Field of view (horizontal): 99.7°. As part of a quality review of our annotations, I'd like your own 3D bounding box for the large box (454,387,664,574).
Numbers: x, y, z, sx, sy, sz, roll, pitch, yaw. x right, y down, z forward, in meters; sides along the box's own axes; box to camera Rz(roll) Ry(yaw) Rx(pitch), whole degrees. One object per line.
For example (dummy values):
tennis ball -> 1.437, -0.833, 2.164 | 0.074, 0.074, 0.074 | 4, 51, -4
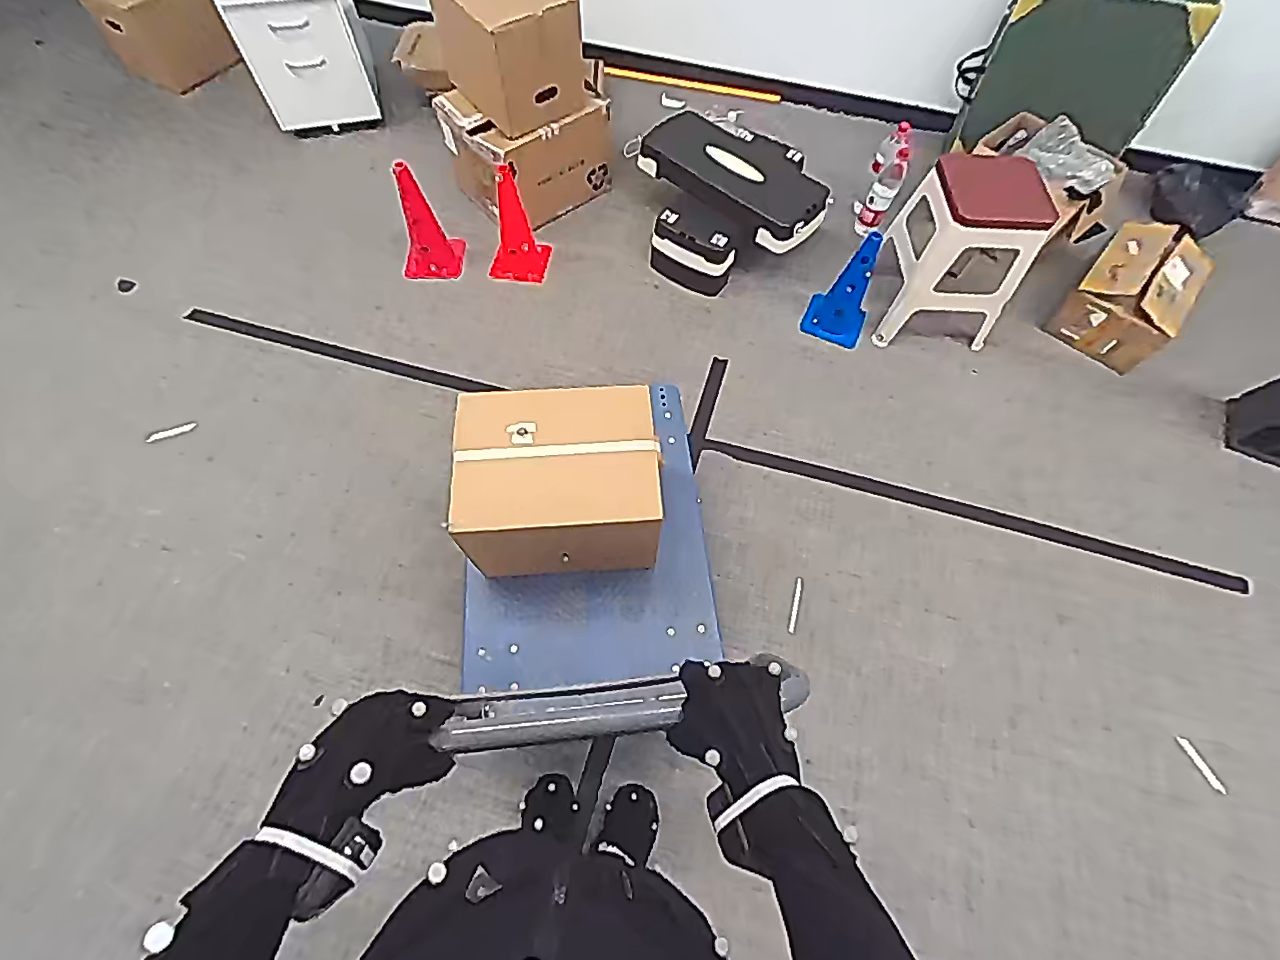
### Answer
large box -> -0.166, 0.015, 1.220 | 0.408, 0.320, 0.320 | -3, 64, -3
